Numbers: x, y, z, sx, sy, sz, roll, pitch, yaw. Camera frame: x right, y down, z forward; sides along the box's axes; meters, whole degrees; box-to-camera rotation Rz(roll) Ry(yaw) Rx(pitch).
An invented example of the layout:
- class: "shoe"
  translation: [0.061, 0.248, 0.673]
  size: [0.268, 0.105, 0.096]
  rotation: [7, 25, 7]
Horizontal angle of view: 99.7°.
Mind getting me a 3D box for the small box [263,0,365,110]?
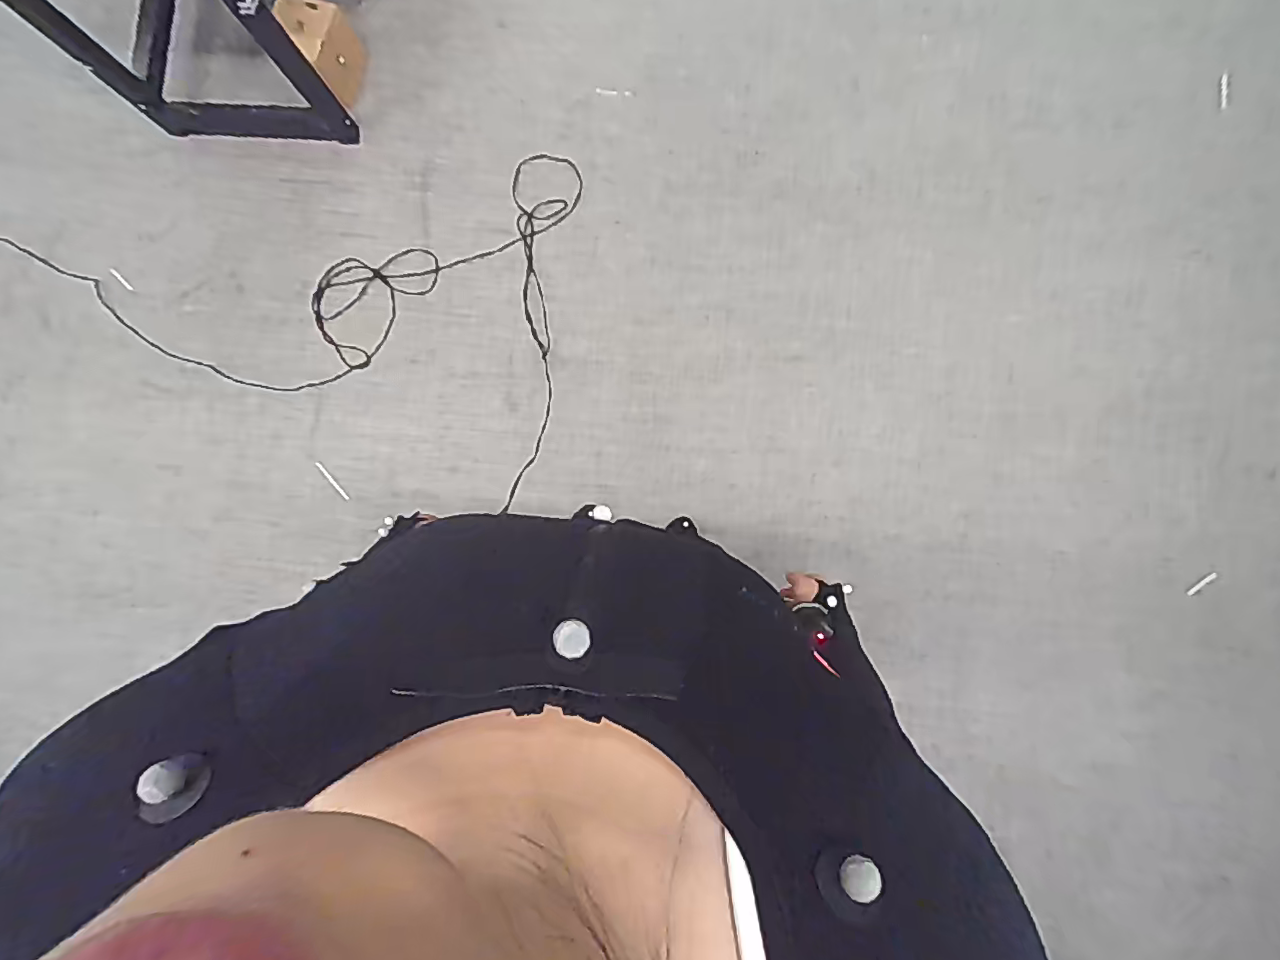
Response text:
- class: "small box"
  translation: [-0.918, -1.205, 1.539]
  size: [0.168, 0.176, 0.179]
  rotation: [16, 88, 2]
